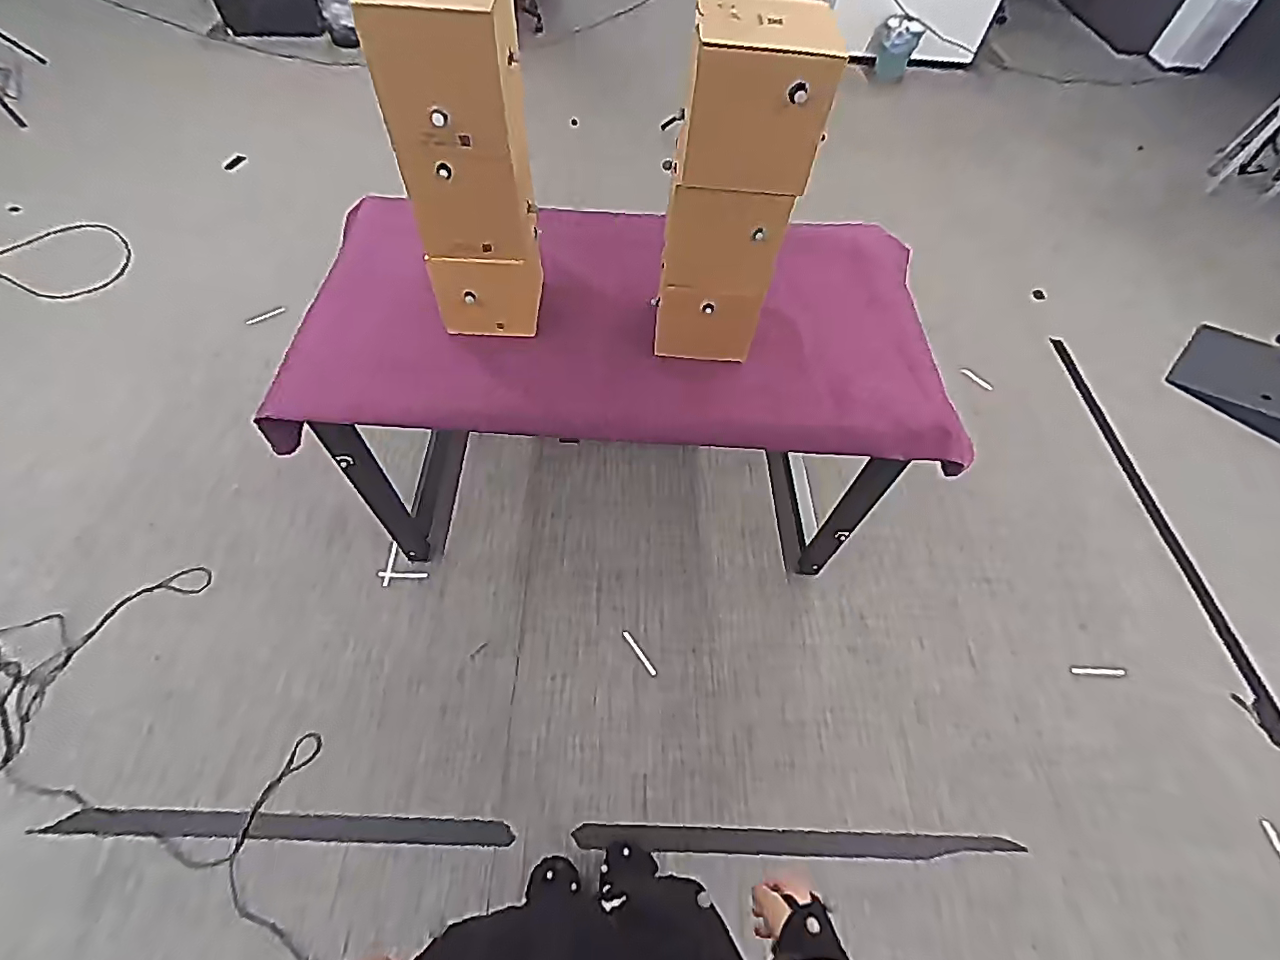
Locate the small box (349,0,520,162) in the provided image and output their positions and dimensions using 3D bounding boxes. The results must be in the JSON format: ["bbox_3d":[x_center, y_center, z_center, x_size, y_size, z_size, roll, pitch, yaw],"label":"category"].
[{"bbox_3d":[-0.261,-0.568,0.739,0.168,0.176,0.179,1,58,-3],"label":"small box"}]

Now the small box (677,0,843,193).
[{"bbox_3d":[0.148,-0.513,0.729,0.179,0.176,0.168,3,57,-1],"label":"small box"}]

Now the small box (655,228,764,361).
[{"bbox_3d":[0.121,-0.341,1.008,0.179,0.176,0.168,4,58,-2],"label":"small box"}]

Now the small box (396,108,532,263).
[{"bbox_3d":[-0.271,-0.481,0.878,0.168,0.176,0.179,0,56,-3],"label":"small box"}]

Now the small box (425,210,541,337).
[{"bbox_3d":[-0.280,-0.386,1.012,0.168,0.176,0.179,1,57,-3],"label":"small box"}]
